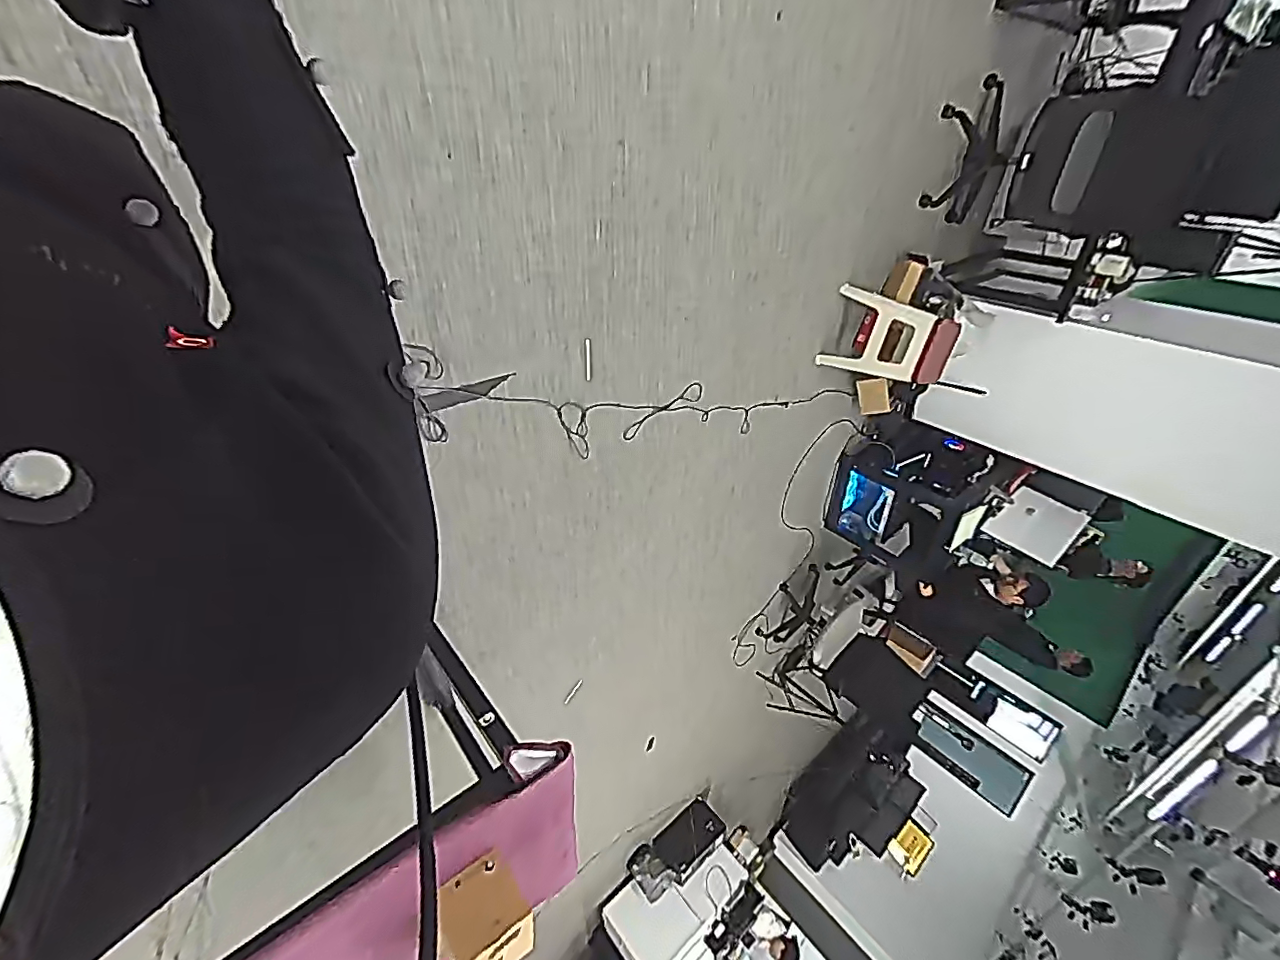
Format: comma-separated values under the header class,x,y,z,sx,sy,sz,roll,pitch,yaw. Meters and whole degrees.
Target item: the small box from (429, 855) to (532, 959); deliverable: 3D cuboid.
class,x,y,z,sx,sy,sz,roll,pitch,yaw
small box,-0.354,0.983,1.198,0.168,0.176,0.179,-18,127,-37
